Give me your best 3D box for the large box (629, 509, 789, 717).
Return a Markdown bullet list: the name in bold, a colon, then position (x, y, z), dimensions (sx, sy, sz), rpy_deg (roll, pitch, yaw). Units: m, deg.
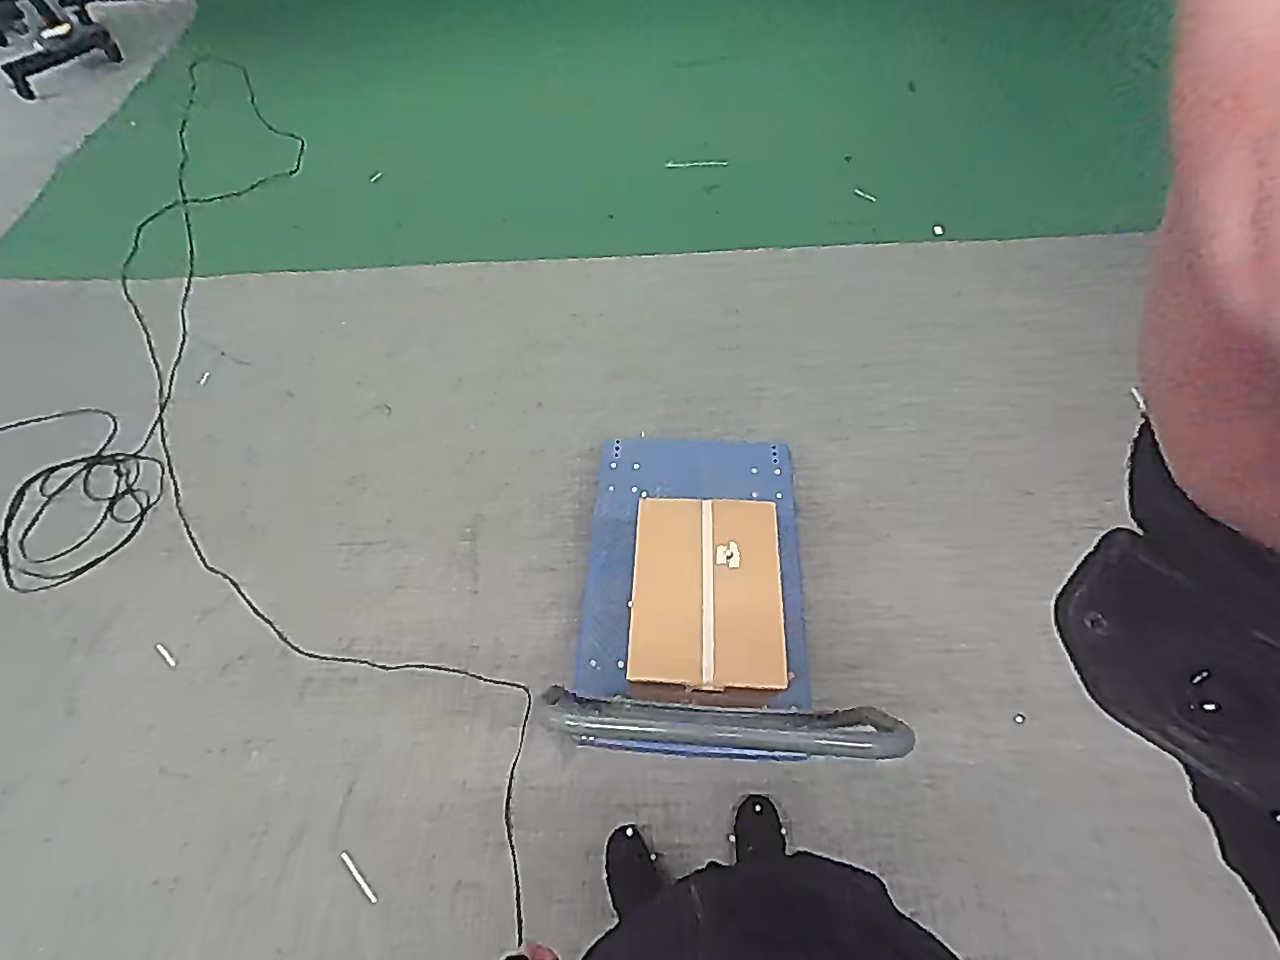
- **large box**: position (0.148, 0.318, 1.266), dimensions (0.320, 0.320, 0.408), rpy_deg (2, 59, 3)
